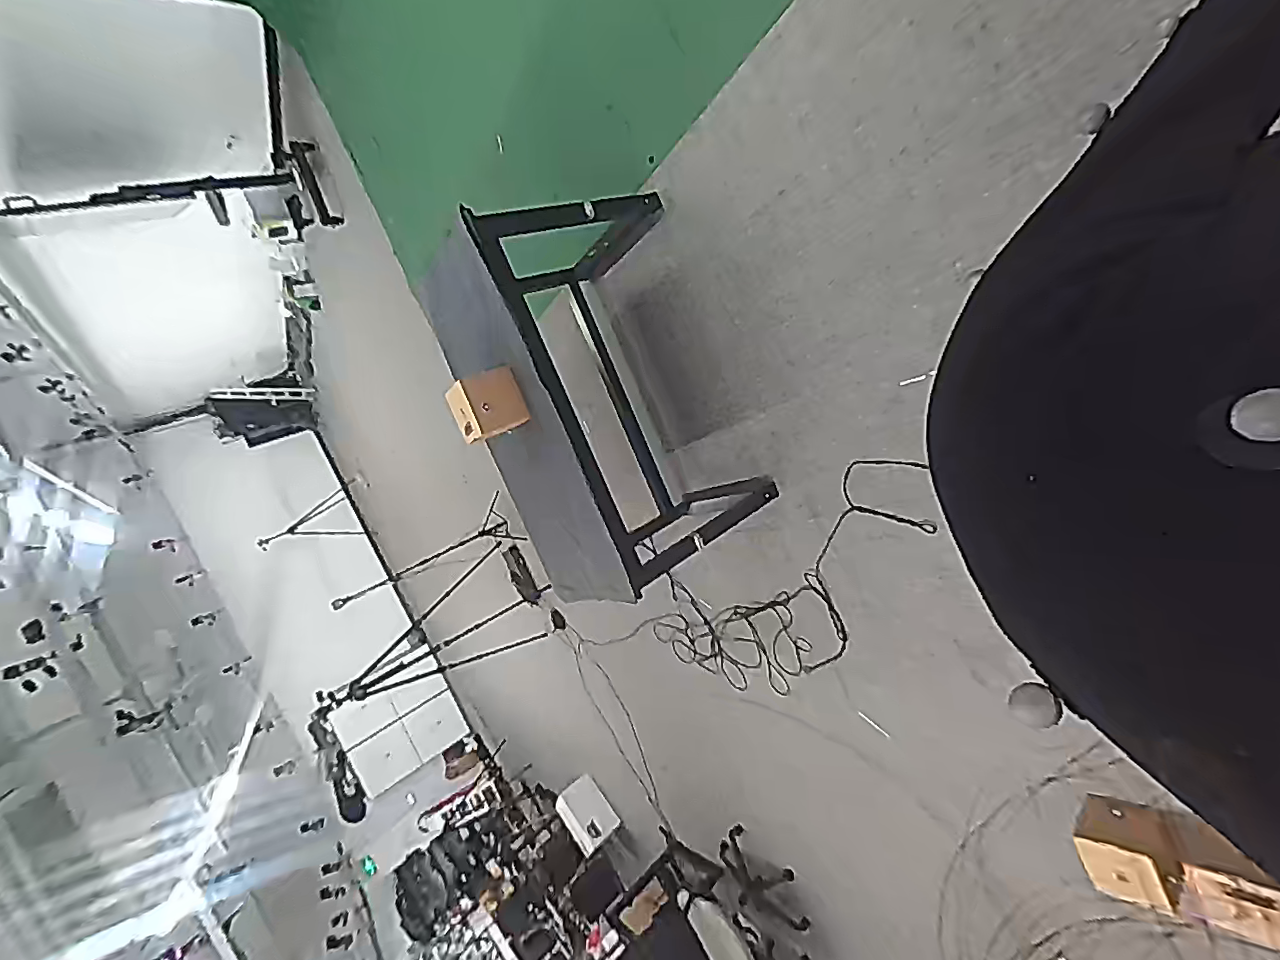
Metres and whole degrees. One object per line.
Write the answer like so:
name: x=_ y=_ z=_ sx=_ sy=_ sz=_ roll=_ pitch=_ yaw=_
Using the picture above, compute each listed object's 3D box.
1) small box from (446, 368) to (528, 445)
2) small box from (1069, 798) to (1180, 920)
small box: x=-0.473 y=-0.230 z=1.687 sx=0.168 sy=0.176 sz=0.179 roll=-14 pitch=100 yaw=55
small box: x=1.303 y=1.004 z=1.450 sx=0.168 sy=0.176 sz=0.179 roll=-22 pitch=94 yaw=55
